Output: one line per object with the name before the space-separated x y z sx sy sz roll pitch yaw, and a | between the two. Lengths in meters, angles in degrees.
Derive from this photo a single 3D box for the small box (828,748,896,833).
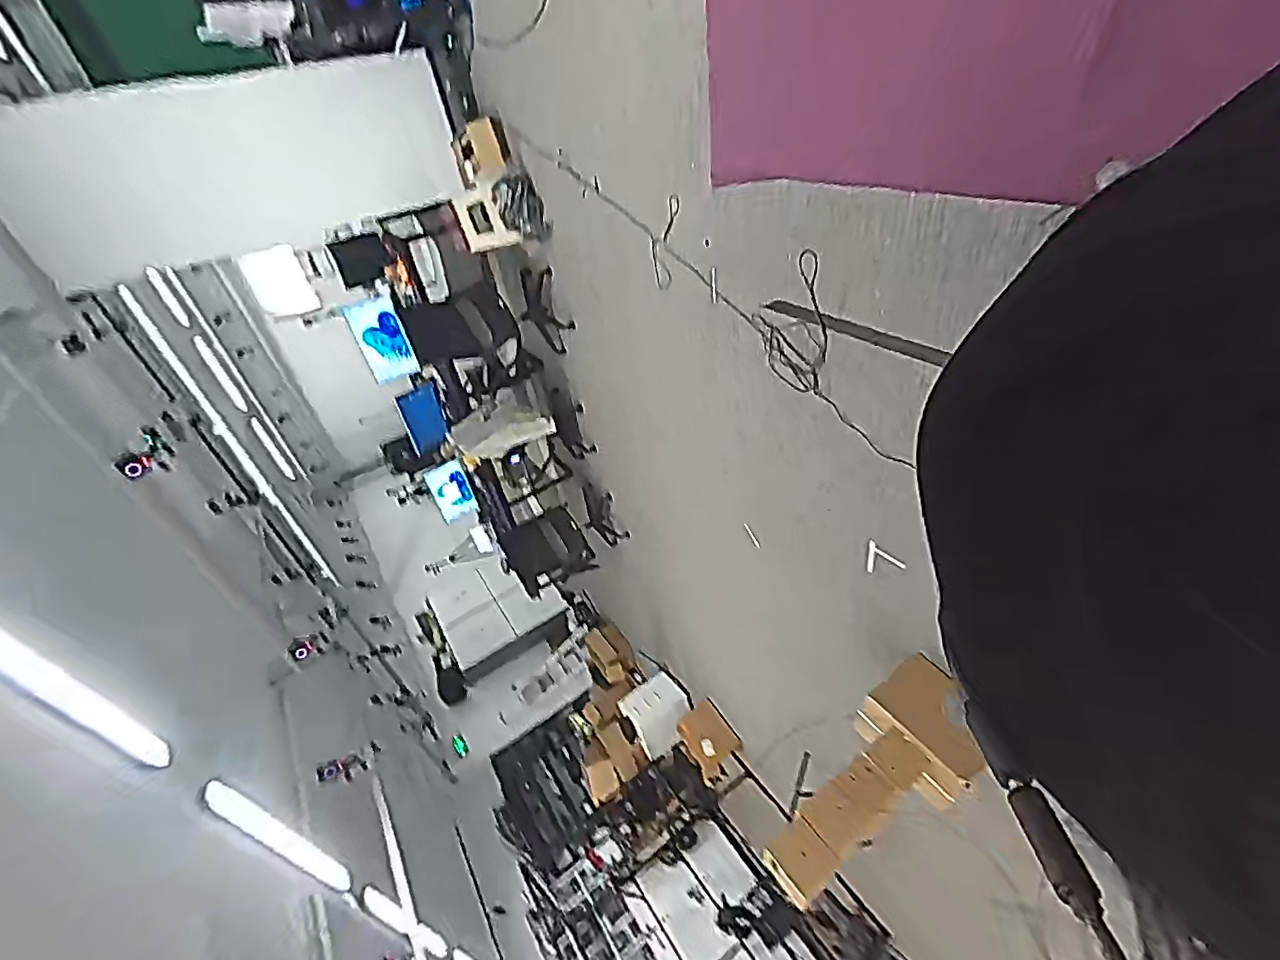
small box | 0.810 1.125 1.972 0.168 0.176 0.179 34 147 50

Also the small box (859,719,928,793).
small box | 0.937 1.039 2.025 0.179 0.176 0.168 45 153 37

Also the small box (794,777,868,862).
small box | 0.672 1.193 1.915 0.179 0.176 0.168 40 150 45
